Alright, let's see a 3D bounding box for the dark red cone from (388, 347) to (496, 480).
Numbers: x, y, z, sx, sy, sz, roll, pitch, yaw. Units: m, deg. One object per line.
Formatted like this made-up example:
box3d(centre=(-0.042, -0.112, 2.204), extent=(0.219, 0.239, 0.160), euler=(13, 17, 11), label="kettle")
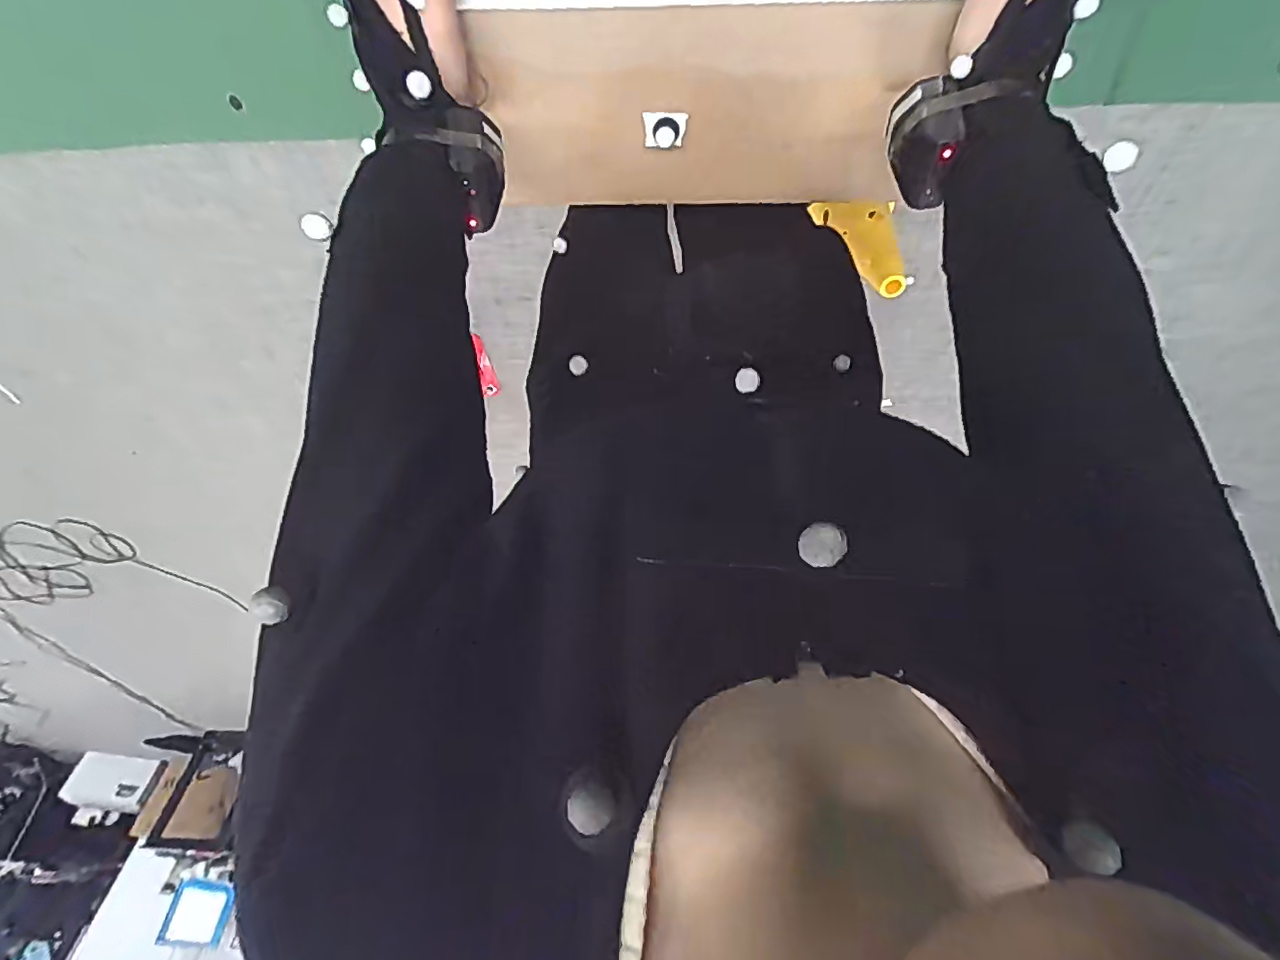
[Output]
box3d(centre=(-0.510, -0.146, 1.310), extent=(0.202, 0.394, 0.201), euler=(-5, 133, 10), label="dark red cone")
